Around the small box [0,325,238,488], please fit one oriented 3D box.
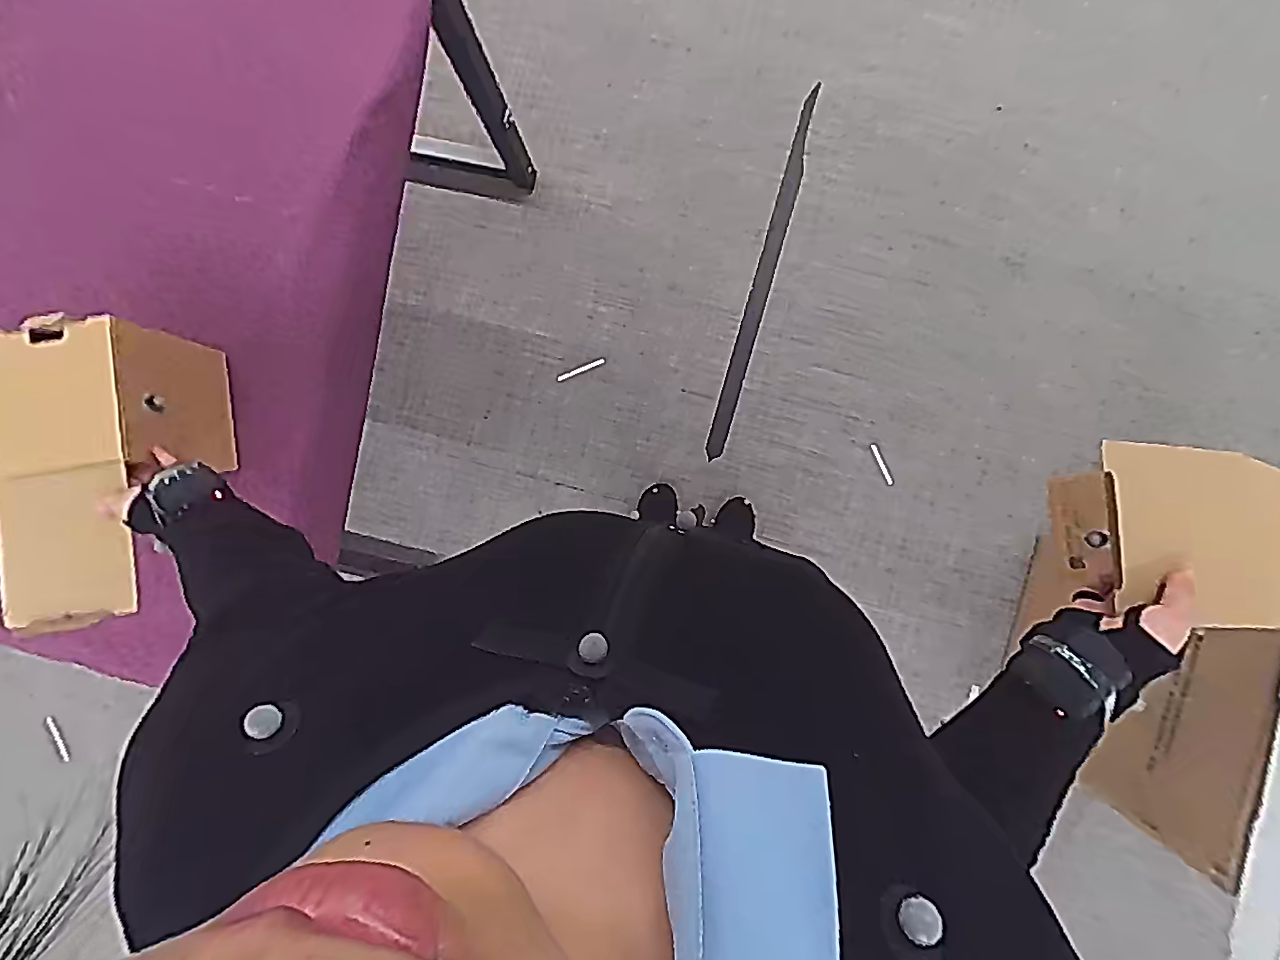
[{"bbox_3d":[-0.675,-0.086,0.716,0.168,0.176,0.179,-8,88,3],"label":"small box"}]
